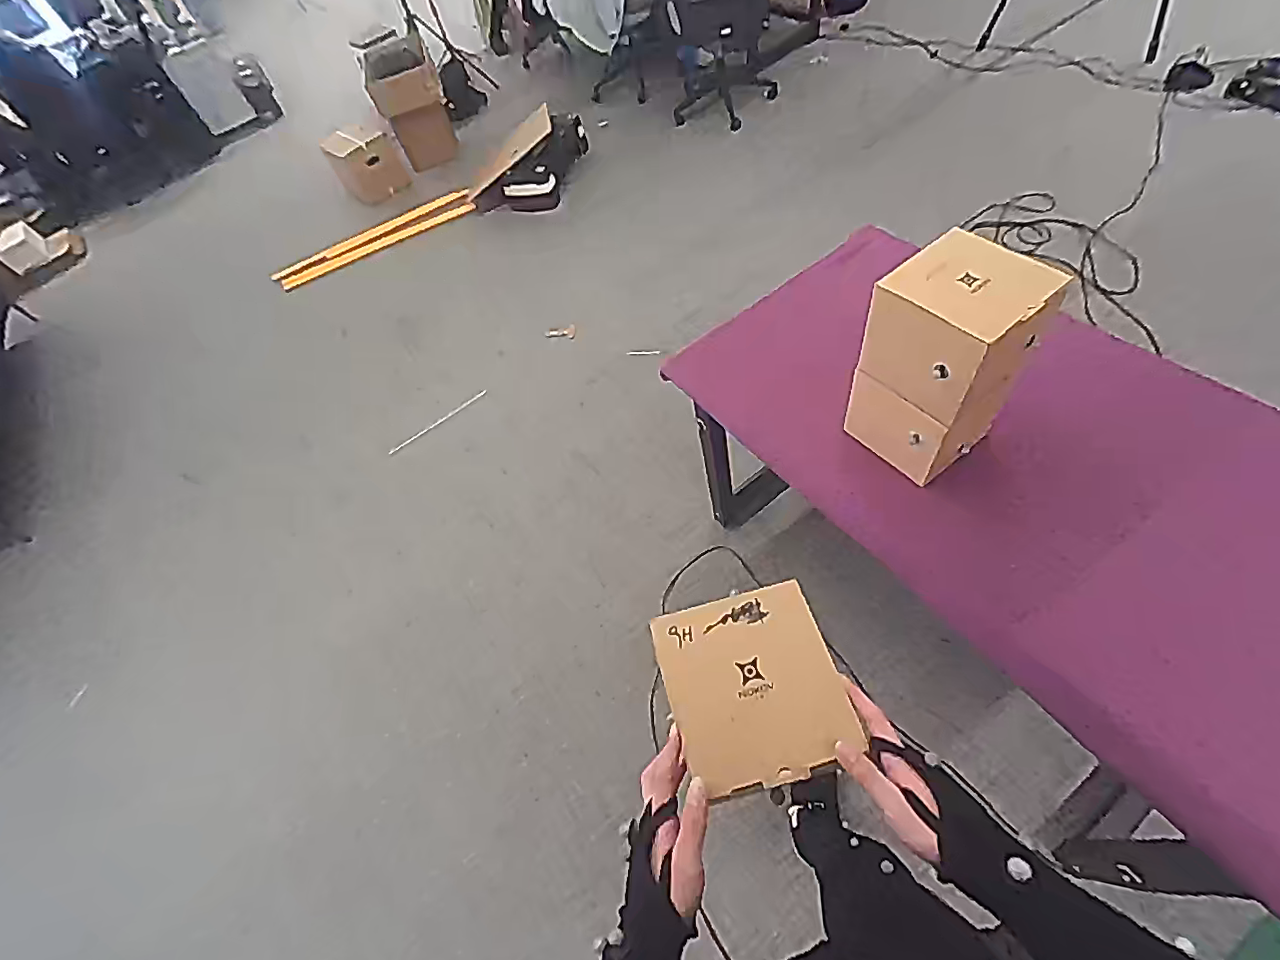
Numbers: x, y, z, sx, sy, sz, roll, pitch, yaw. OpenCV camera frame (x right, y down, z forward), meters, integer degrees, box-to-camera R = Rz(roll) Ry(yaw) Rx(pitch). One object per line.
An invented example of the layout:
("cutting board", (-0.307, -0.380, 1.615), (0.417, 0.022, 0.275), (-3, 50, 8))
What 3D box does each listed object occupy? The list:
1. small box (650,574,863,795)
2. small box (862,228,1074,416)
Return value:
("small box", (0.115, 0.231, 0.598), (0.168, 0.176, 0.179), (-14, 58, -3))
("small box", (0.450, -0.216, 0.776), (0.168, 0.176, 0.179), (-35, 56, -11))
